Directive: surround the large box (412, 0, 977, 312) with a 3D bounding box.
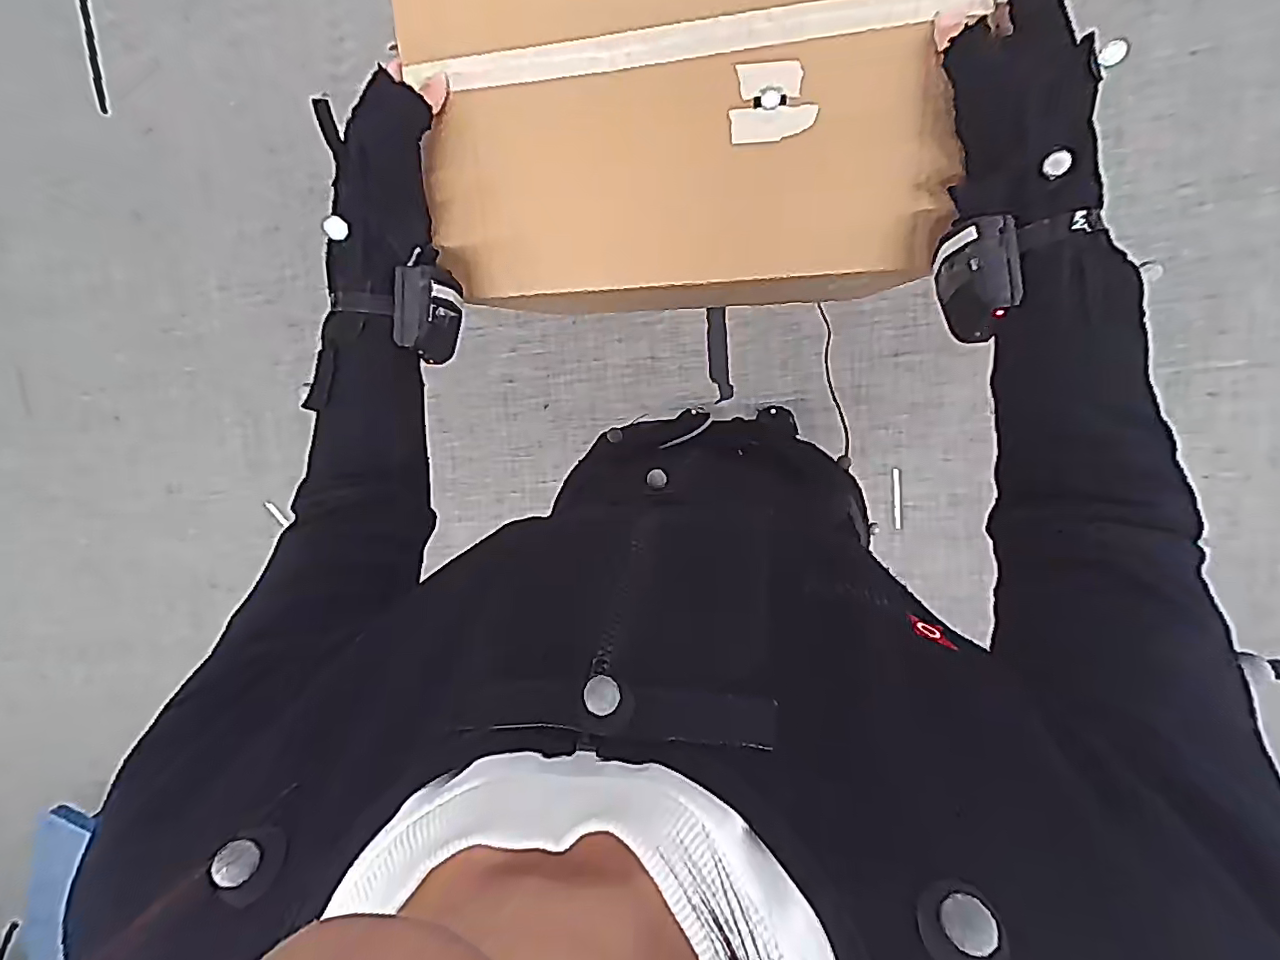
[{"bbox_3d":[0.047,-0.347,0.529,0.408,0.320,0.320,-1,105,9],"label":"large box"}]
